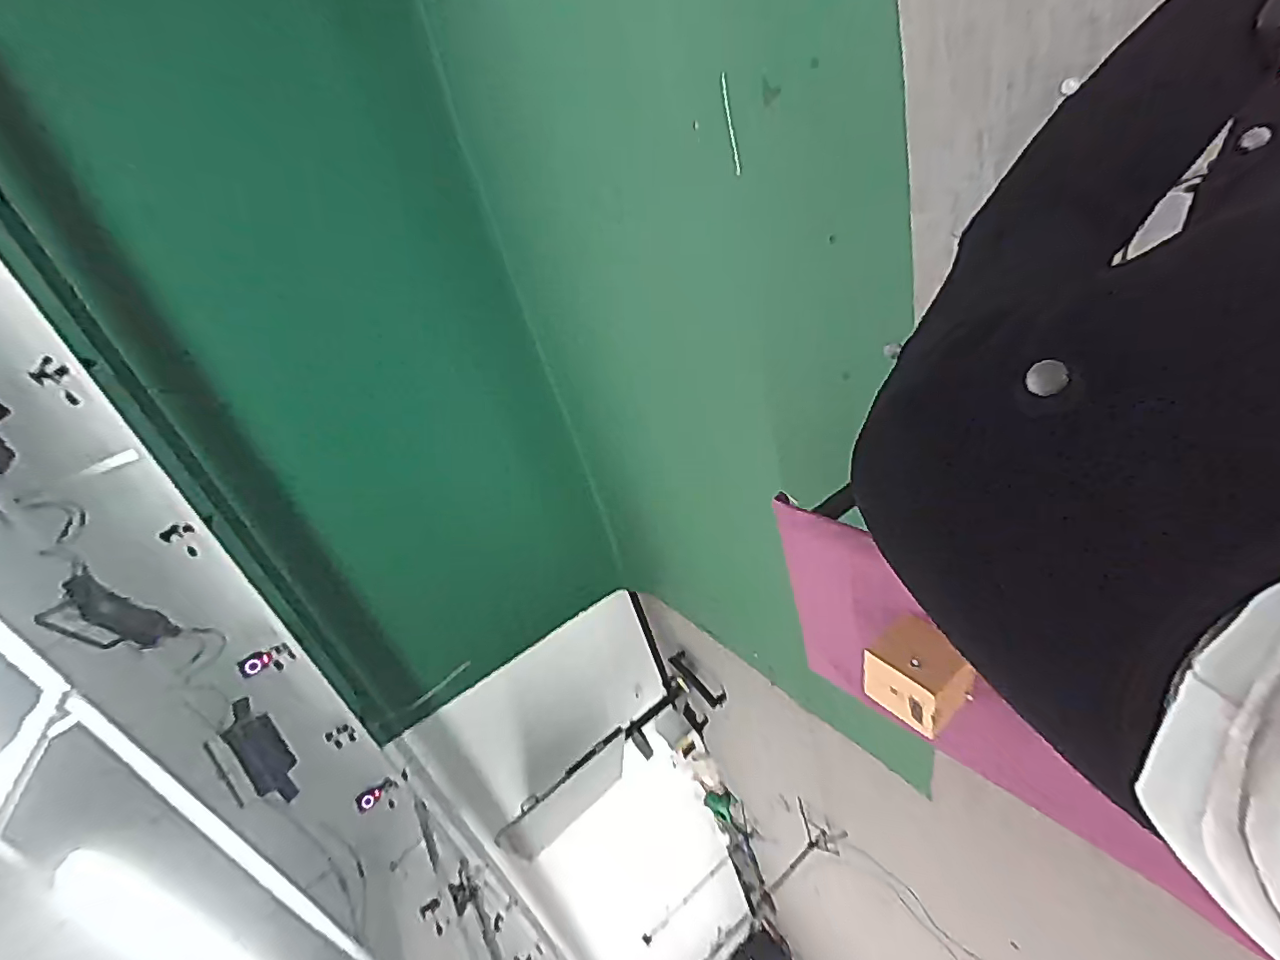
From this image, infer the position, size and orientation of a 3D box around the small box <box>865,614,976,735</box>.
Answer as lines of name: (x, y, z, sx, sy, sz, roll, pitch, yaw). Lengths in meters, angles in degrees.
small box: (0.663, 0.452, 1.284, 0.179, 0.176, 0.168, 31, 144, 49)
